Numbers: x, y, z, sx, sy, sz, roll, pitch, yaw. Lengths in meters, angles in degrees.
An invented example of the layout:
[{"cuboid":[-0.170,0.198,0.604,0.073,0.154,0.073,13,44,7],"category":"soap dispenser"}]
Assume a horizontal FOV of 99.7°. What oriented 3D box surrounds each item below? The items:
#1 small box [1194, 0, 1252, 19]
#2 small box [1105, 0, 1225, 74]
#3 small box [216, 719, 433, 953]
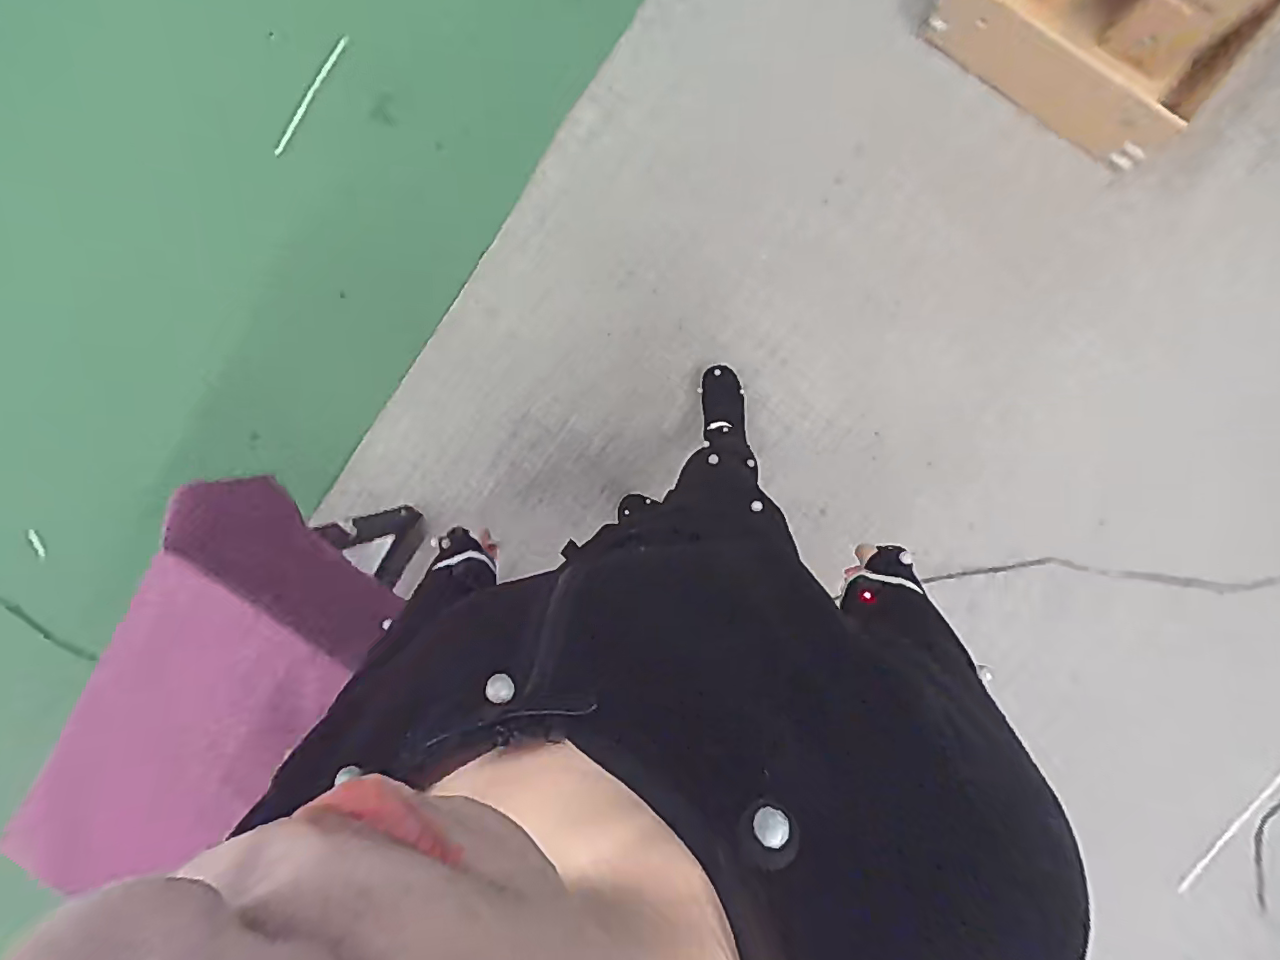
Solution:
[{"cuboid":[1.169,-1.040,1.018,0.168,0.176,0.179,36,97,2],"category":"small box"},{"cuboid":[1.183,-1.052,1.182,0.168,0.176,0.179,36,97,2],"category":"small box"},{"cuboid":[-0.425,0.483,0.759,0.168,0.176,0.179,33,97,0],"category":"small box"}]
